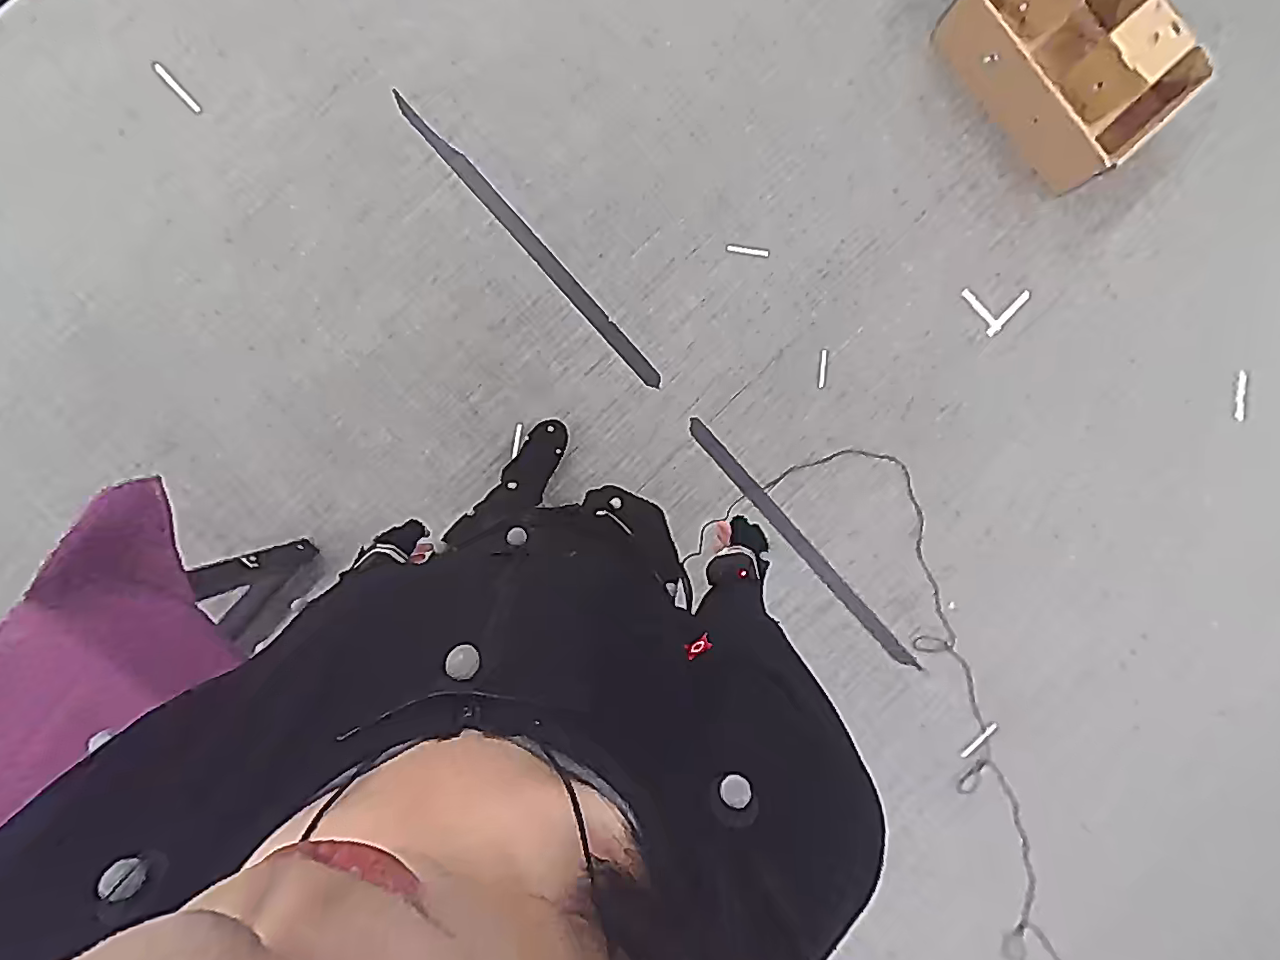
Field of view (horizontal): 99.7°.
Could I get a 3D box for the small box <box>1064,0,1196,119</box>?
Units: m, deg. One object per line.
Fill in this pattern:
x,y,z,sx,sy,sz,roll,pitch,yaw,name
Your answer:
1.295,-1.128,1.451,0.179,0.176,0.168,-41,91,0,small box
